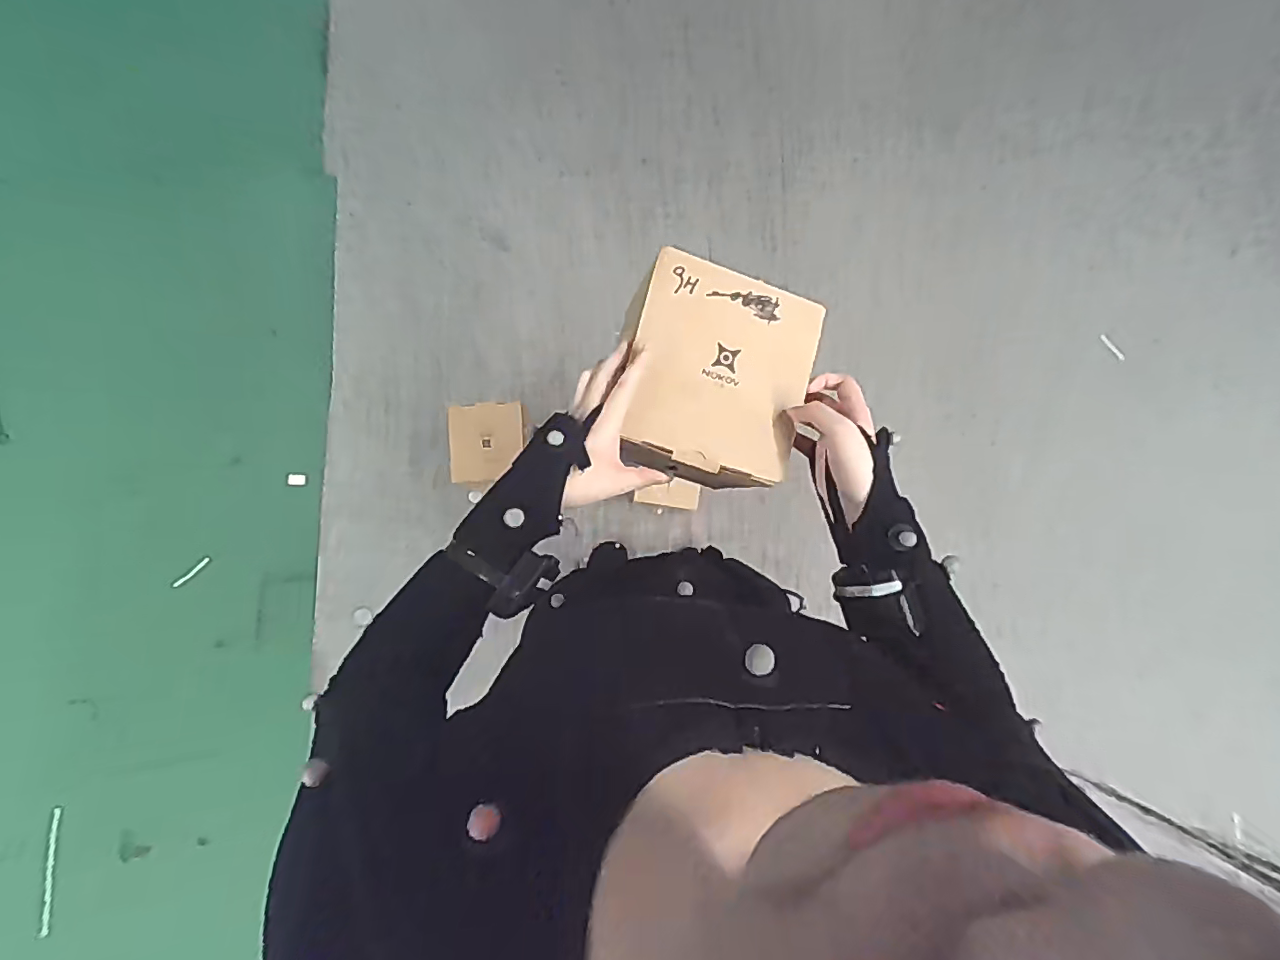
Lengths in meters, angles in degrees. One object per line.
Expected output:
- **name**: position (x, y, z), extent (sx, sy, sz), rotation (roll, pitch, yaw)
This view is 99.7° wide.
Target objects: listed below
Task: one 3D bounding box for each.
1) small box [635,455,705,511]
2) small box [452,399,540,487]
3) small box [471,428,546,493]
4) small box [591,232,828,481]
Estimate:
- **small box**: position (0.080, -0.018, 1.436), extent (0.168, 0.176, 0.179), rotation (10, 85, 0)
- **small box**: position (-0.332, -0.082, 1.274), extent (0.168, 0.176, 0.179), rotation (-2, 83, 0)
- **small box**: position (-0.346, -0.063, 1.432), extent (0.168, 0.176, 0.179), rotation (-4, 84, -2)
- **small box**: position (0.053, -0.104, 0.543), extent (0.168, 0.176, 0.179), rotation (17, 87, -12)
